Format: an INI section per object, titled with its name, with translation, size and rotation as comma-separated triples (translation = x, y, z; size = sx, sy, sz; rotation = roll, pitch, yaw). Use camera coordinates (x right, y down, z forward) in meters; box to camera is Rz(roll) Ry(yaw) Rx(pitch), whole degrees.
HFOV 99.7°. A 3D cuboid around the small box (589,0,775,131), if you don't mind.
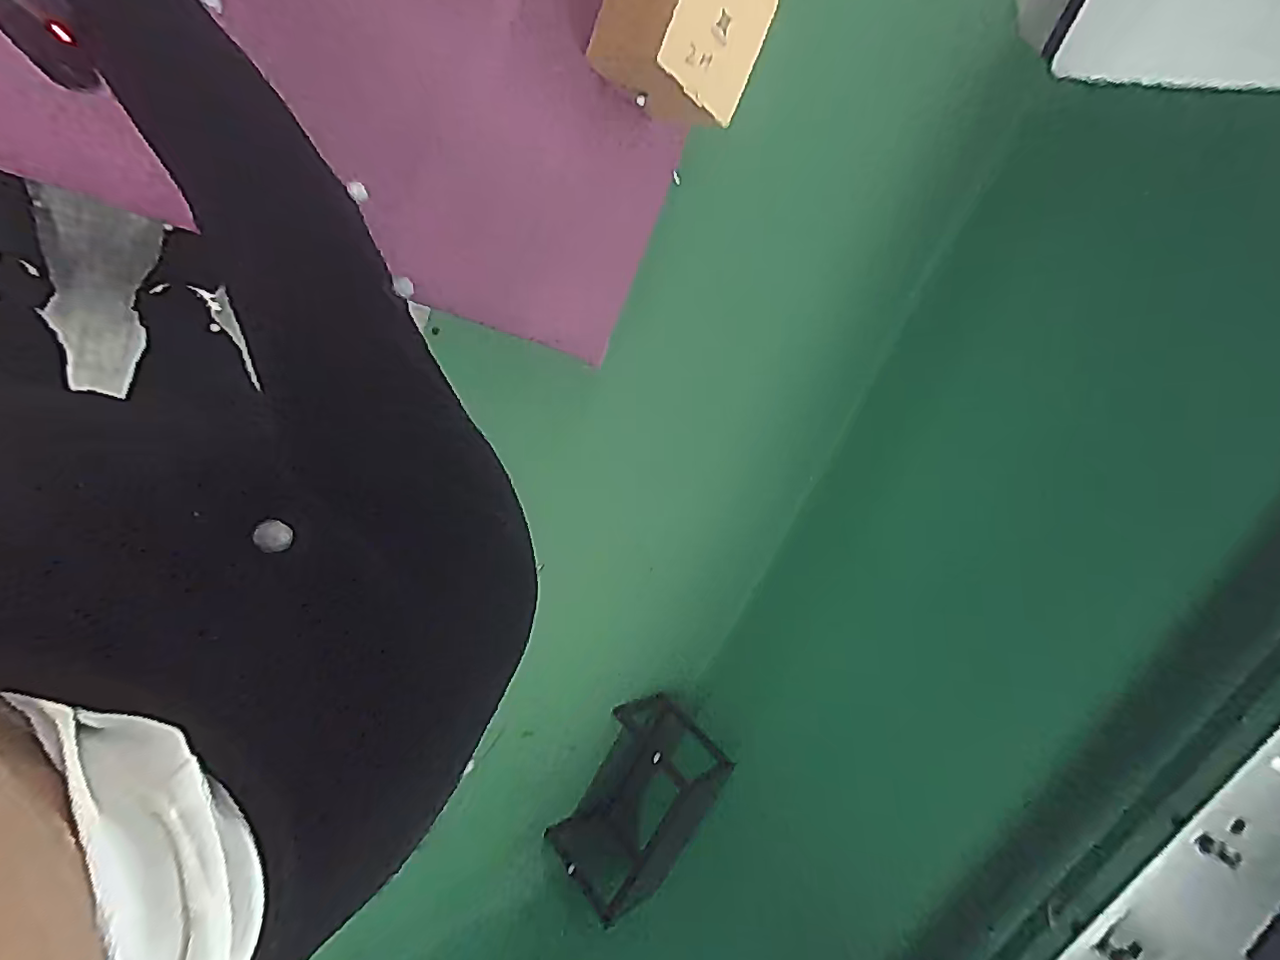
[small box]
translation = 0.054, -0.643, 0.776
size = 0.168, 0.176, 0.179
rotation = 6, 115, -48
